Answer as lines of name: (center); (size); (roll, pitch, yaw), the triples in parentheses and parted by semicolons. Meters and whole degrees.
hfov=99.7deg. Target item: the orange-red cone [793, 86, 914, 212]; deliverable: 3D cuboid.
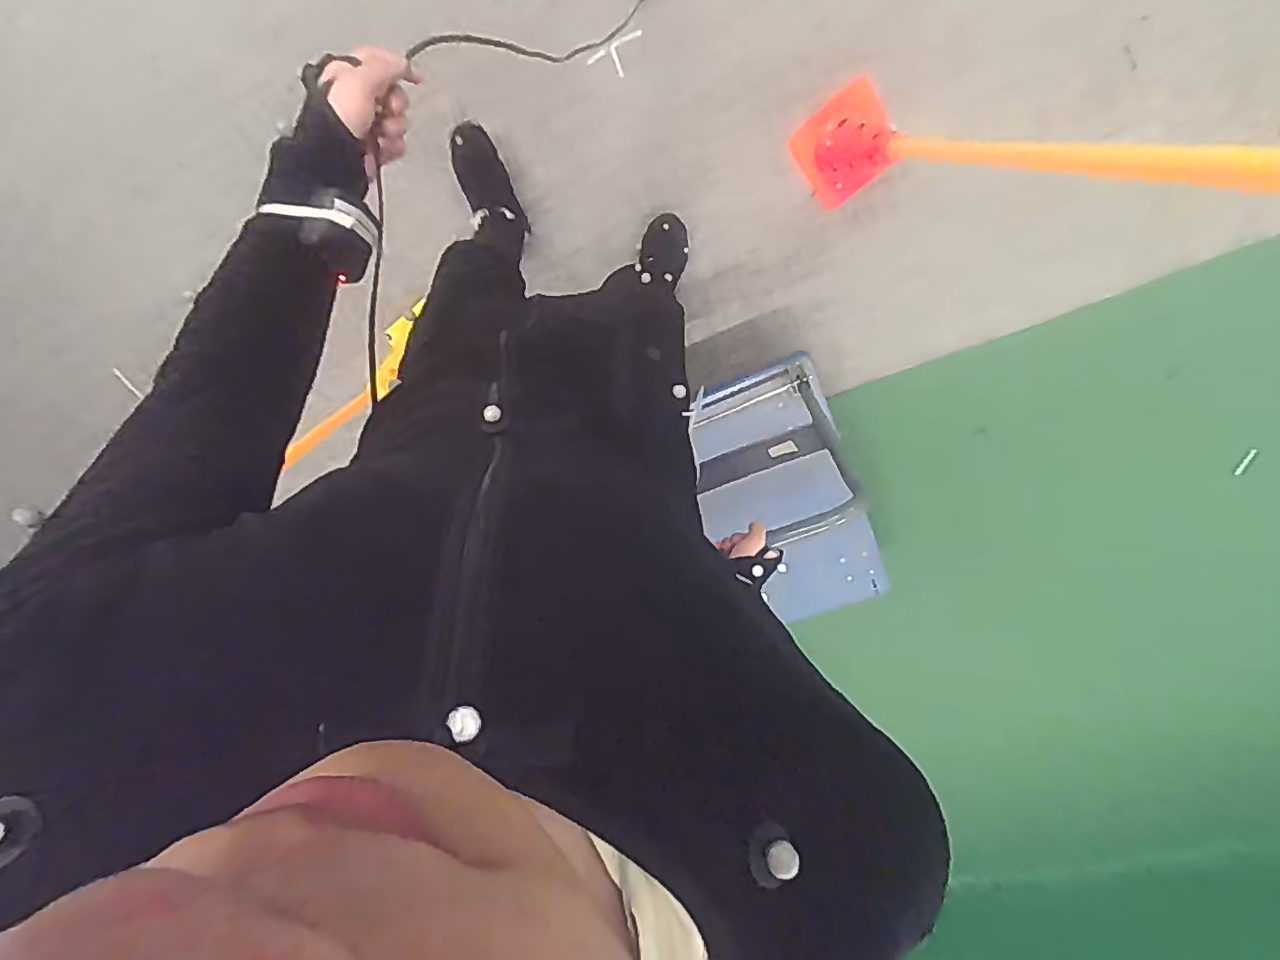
orange-red cone: (0.475, -0.670, 1.107); (0.199, 0.360, 0.198); (-34, 115, 20)
